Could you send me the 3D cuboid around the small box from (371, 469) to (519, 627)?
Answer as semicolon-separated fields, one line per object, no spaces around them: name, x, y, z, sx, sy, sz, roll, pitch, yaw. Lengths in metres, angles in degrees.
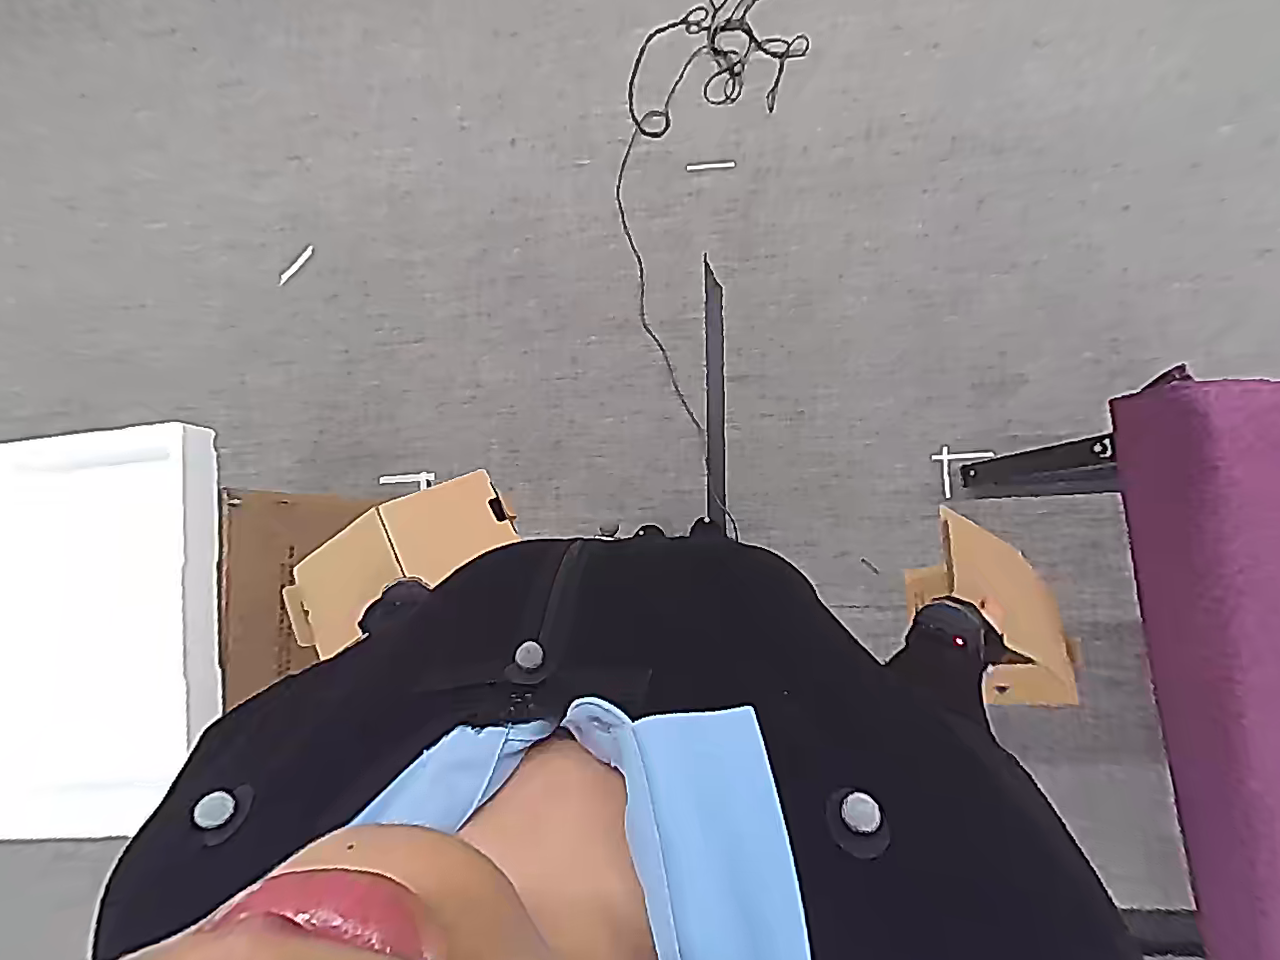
small box;-0.307;0.116;0.883;0.179;0.176;0.168;-23;67;-24
